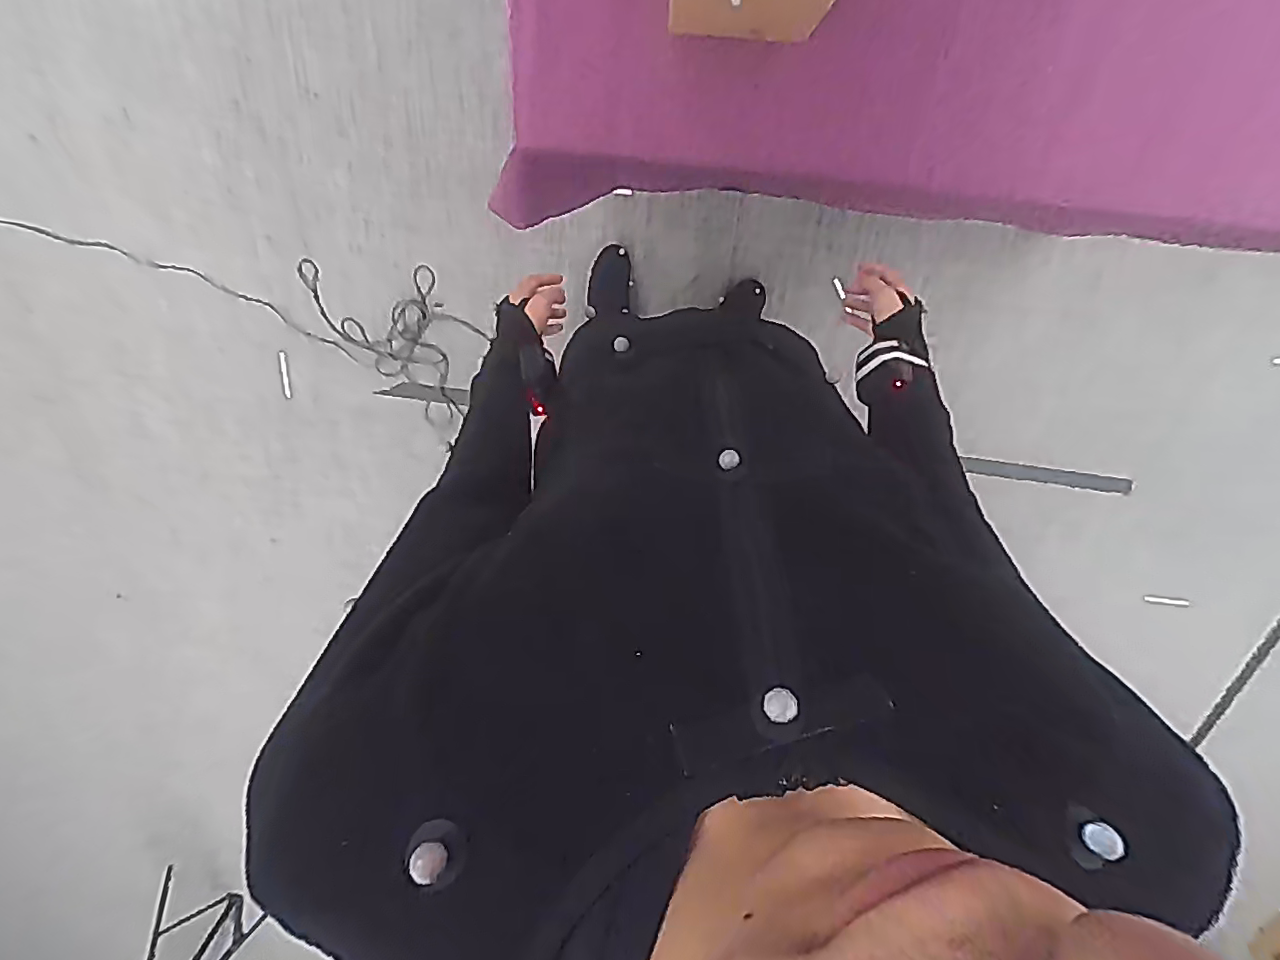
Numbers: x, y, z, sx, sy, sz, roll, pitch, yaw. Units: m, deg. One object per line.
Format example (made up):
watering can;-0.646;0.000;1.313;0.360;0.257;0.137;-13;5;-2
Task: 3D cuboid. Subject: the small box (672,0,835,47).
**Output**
small box;0.122;-0.582;0.551;0.168;0.176;0.179;5;114;0
